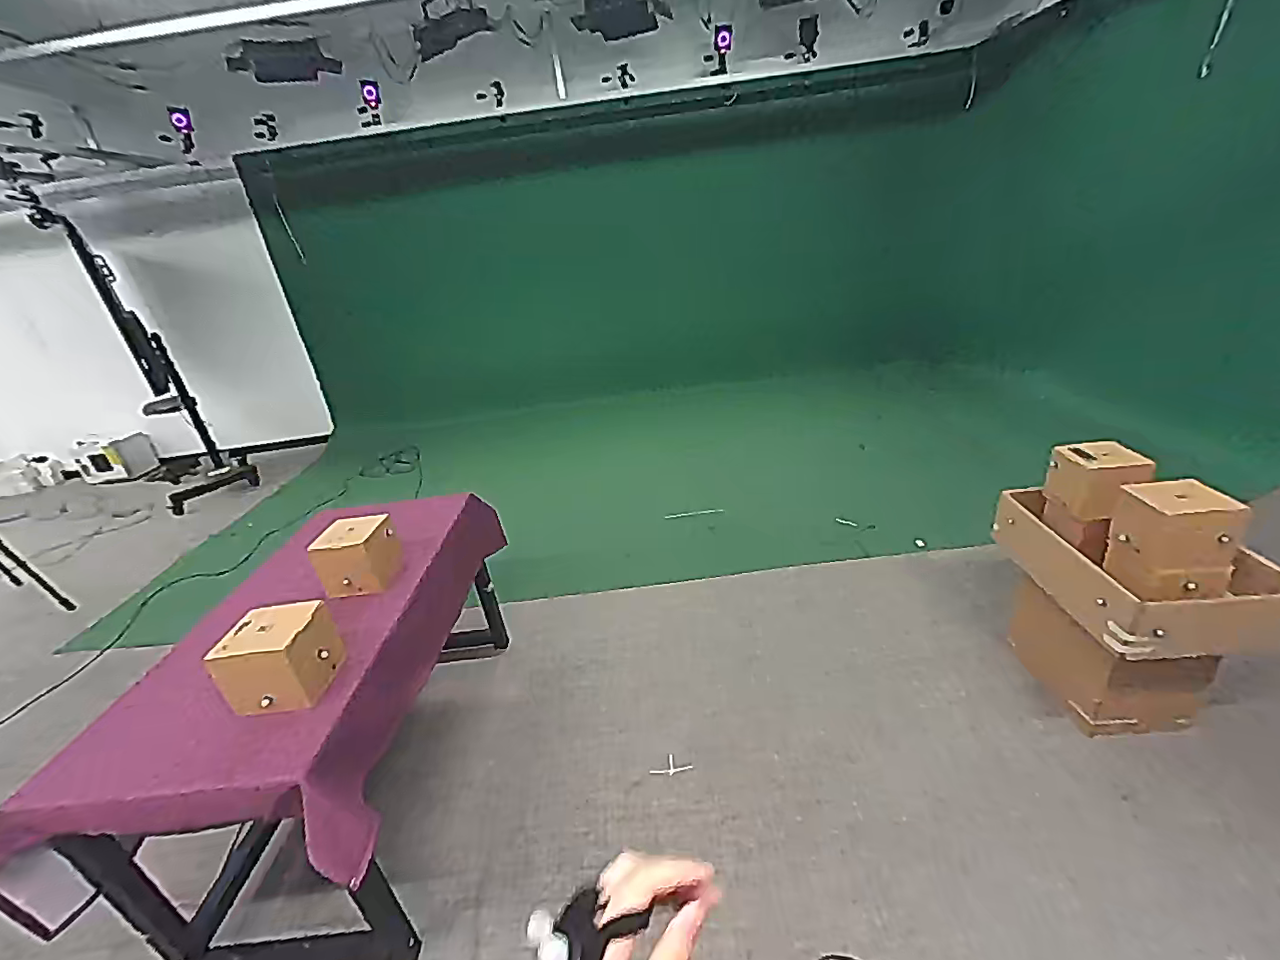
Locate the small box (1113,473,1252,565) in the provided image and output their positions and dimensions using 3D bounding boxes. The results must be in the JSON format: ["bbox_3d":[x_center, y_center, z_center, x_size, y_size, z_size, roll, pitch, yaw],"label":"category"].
[{"bbox_3d":[1.357,0.099,1.369,0.179,0.176,0.168,-7,24,9],"label":"small box"}]

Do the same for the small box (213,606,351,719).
[{"bbox_3d":[-0.791,0.411,1.220,0.179,0.176,0.168,-8,24,2],"label":"small box"}]

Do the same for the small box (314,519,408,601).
[{"bbox_3d":[-0.815,0.236,1.604,0.168,0.176,0.179,-8,25,4],"label":"small box"}]
